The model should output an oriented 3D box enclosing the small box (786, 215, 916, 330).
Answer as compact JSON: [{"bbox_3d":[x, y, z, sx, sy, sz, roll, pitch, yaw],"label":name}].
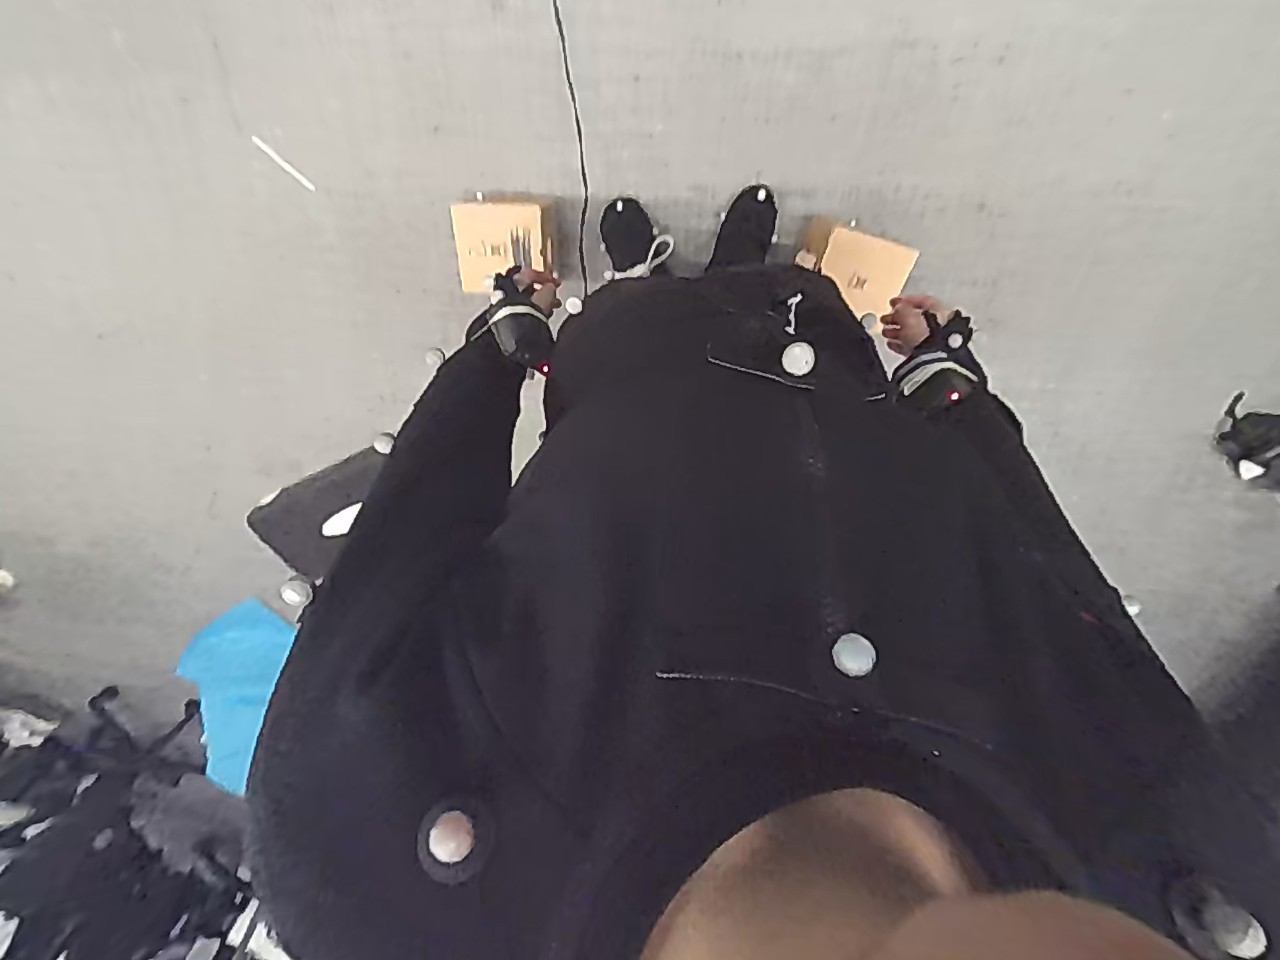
[{"bbox_3d":[0.422,-0.434,1.118,0.179,0.176,0.168,14,123,-4],"label":"small box"}]
